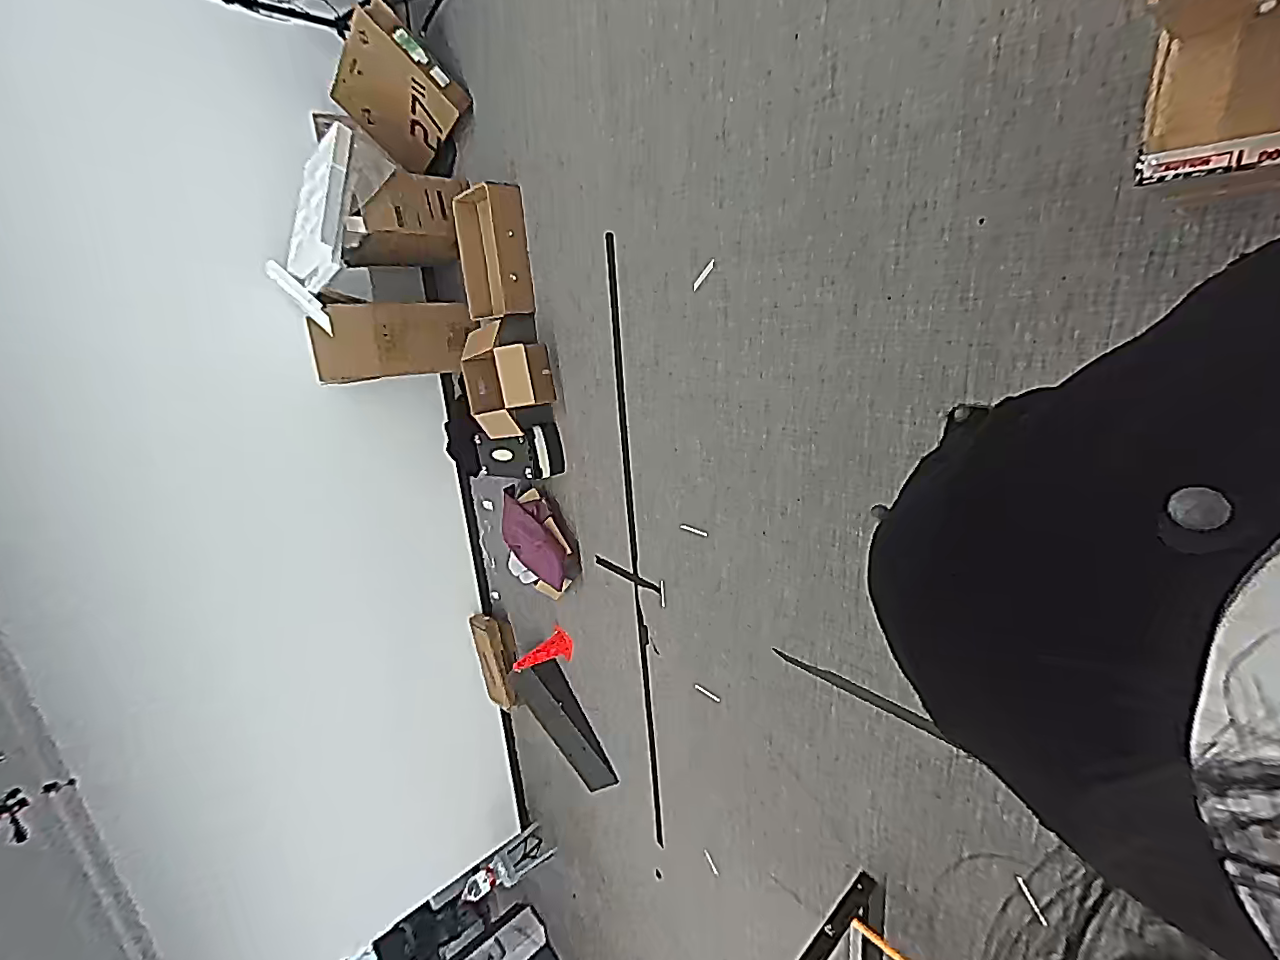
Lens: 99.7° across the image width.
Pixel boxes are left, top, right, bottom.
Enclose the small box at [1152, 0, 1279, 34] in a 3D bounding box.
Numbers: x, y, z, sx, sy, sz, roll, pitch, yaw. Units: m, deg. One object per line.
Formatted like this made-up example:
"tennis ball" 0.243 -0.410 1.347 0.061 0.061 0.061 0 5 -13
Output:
"small box" 0.642 -0.592 0.533 0.168 0.176 0.179 12 116 51
